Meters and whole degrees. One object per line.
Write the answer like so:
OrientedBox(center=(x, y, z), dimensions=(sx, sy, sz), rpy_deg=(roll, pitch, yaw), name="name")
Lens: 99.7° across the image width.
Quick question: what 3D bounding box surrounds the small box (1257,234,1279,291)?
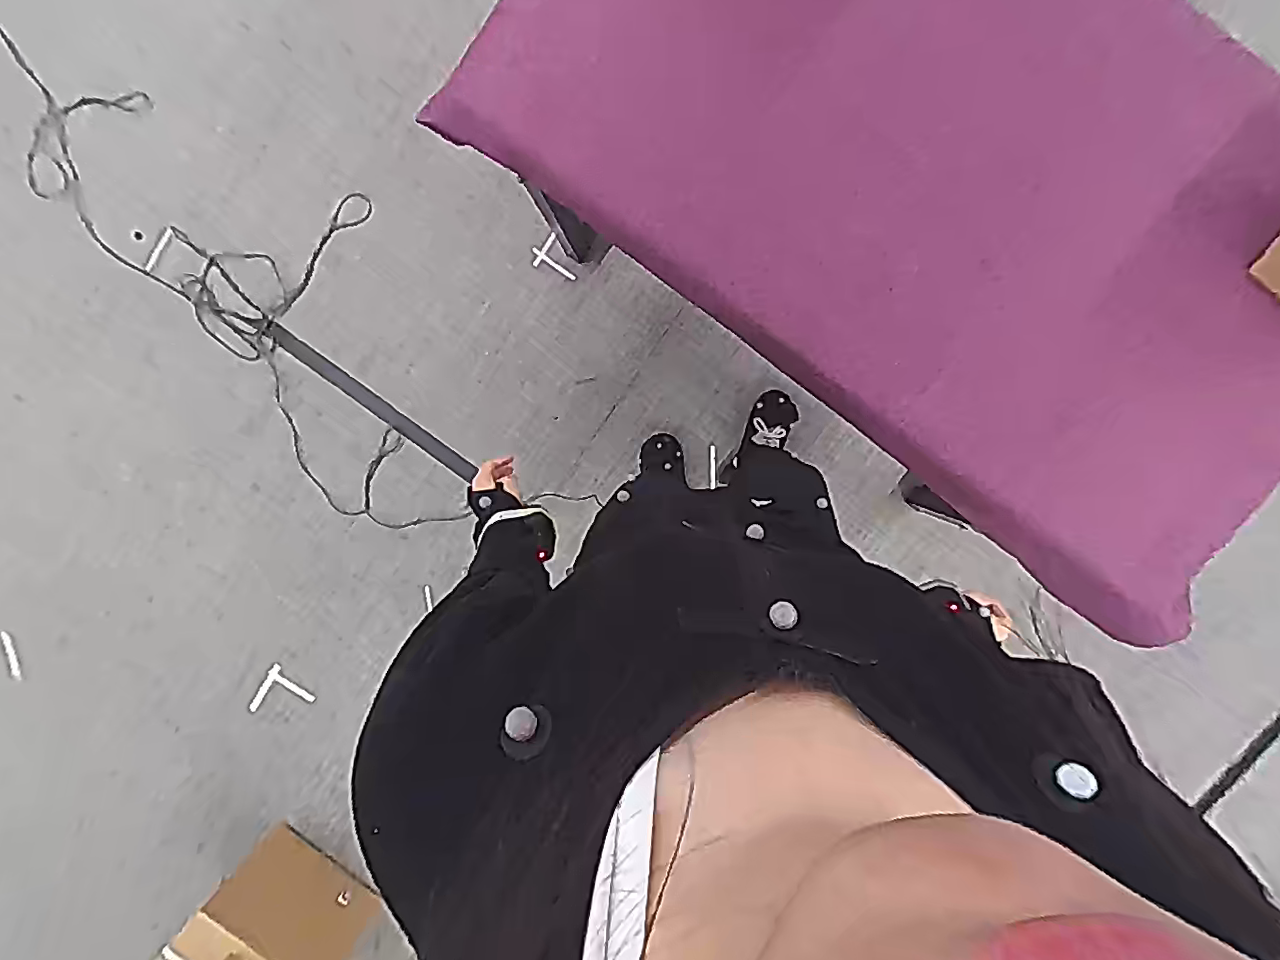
OrientedBox(center=(0.900, -0.280, 0.616), dimensions=(0.179, 0.176, 0.168), rpy_deg=(37, 98, -3), name="small box")
